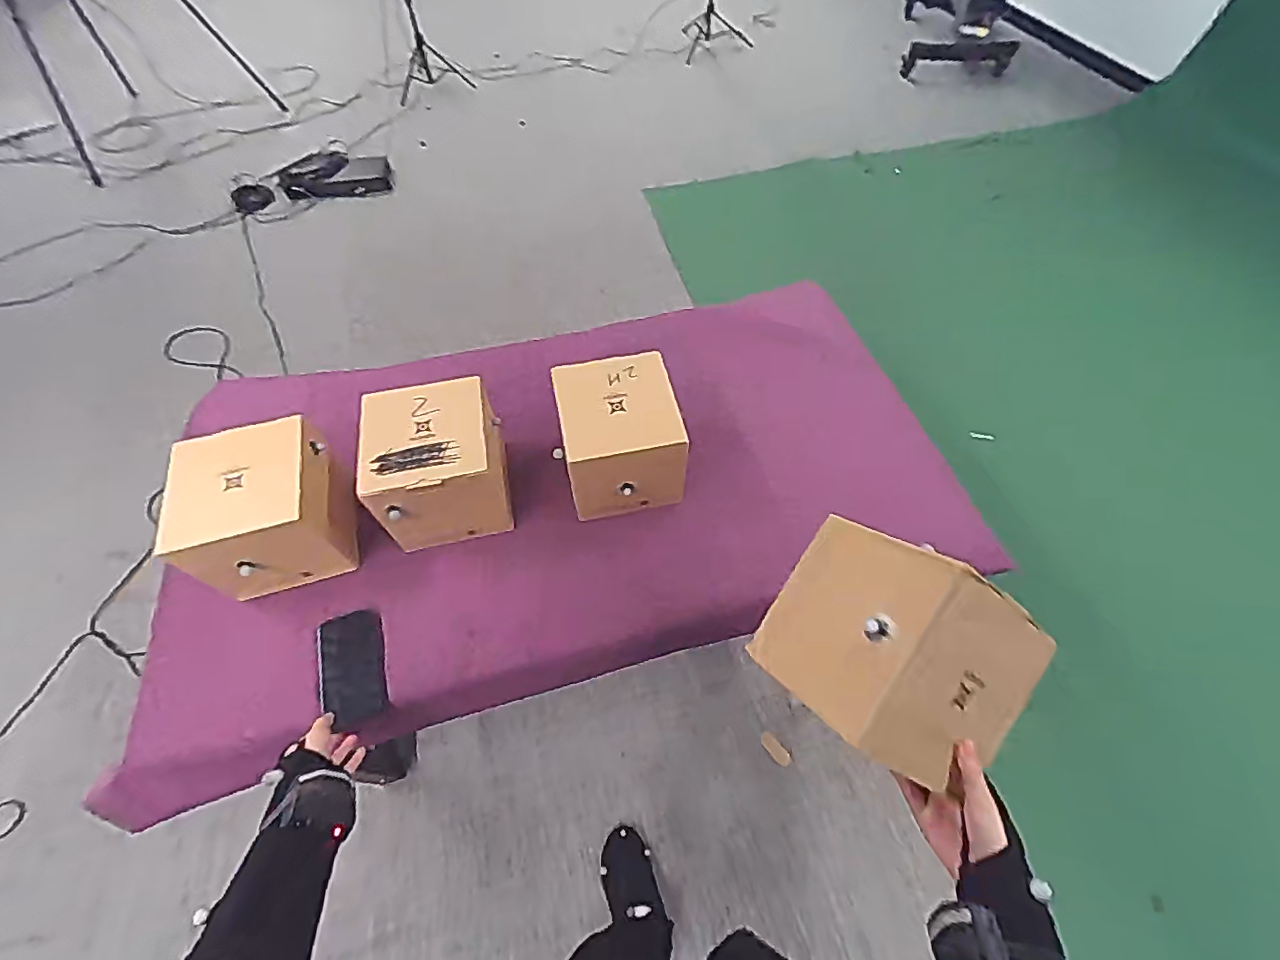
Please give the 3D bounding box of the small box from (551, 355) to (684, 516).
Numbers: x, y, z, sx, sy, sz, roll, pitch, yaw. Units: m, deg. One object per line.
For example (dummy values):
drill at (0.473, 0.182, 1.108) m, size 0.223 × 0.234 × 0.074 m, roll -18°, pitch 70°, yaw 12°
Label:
small box at (-0.034, -0.059, 0.822) m, size 0.168 × 0.176 × 0.179 m, roll -10°, pitch 58°, yaw -7°

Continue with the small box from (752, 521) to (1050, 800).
small box at (0.243, 0.162, 0.535) m, size 0.168 × 0.176 × 0.179 m, roll 35°, pitch 86°, yaw -23°

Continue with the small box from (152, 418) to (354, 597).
small box at (-0.519, 0.048, 0.755) m, size 0.168 × 0.176 × 0.179 m, roll -15°, pitch 58°, yaw -9°
